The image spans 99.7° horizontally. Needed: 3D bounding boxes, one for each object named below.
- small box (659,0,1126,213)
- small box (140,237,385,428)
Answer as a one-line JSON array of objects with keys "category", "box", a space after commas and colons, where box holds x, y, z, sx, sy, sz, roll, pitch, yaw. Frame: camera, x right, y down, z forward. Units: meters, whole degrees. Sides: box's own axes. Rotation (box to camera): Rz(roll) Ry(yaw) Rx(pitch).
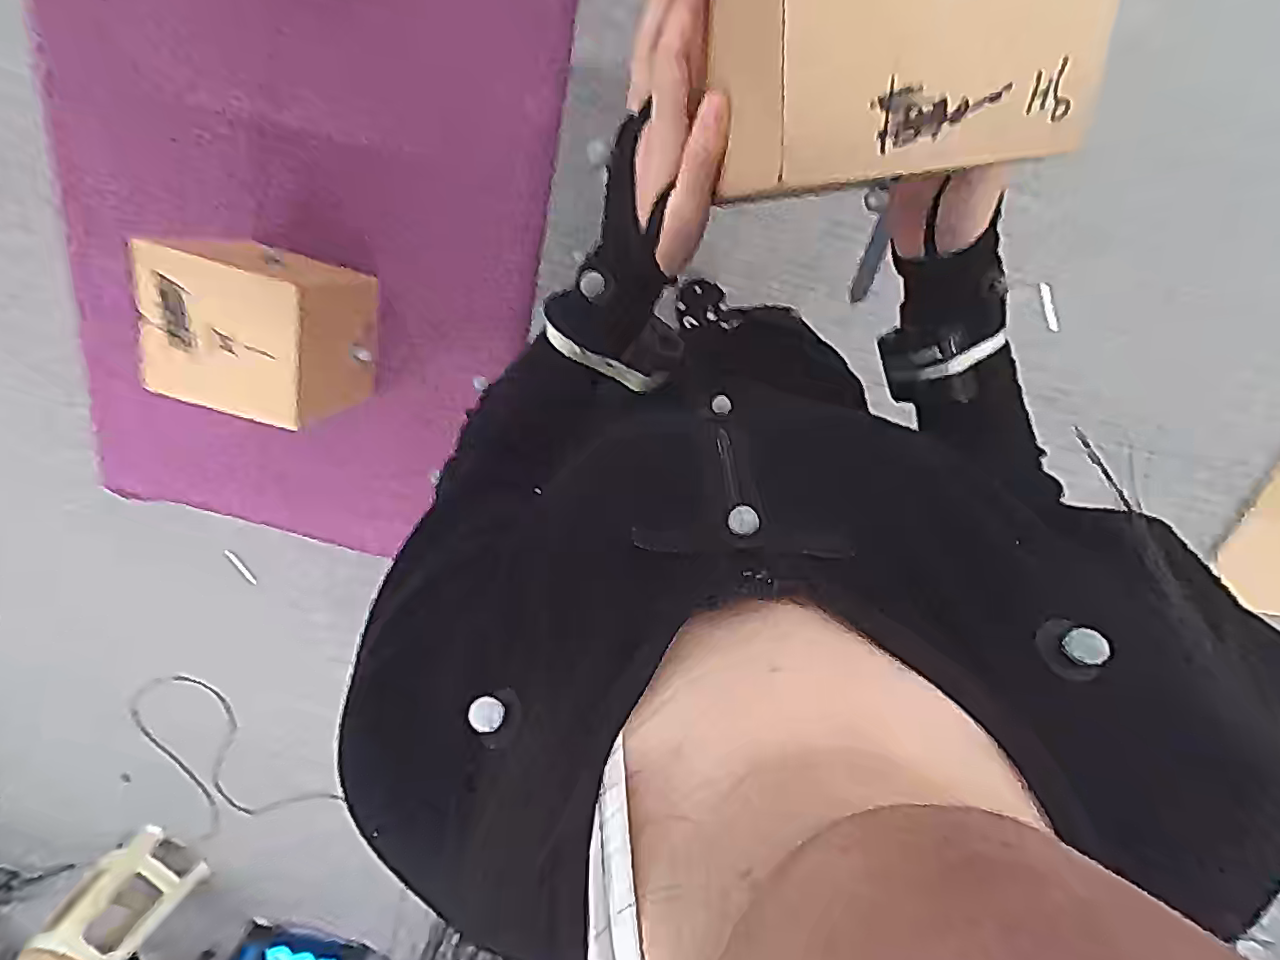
[{"category": "small box", "box": [0.110, -0.249, 0.283, 0.168, 0.176, 0.179, -12, 115, -10]}, {"category": "small box", "box": [-0.444, -0.183, 0.659, 0.179, 0.176, 0.168, 16, 113, -2]}]
